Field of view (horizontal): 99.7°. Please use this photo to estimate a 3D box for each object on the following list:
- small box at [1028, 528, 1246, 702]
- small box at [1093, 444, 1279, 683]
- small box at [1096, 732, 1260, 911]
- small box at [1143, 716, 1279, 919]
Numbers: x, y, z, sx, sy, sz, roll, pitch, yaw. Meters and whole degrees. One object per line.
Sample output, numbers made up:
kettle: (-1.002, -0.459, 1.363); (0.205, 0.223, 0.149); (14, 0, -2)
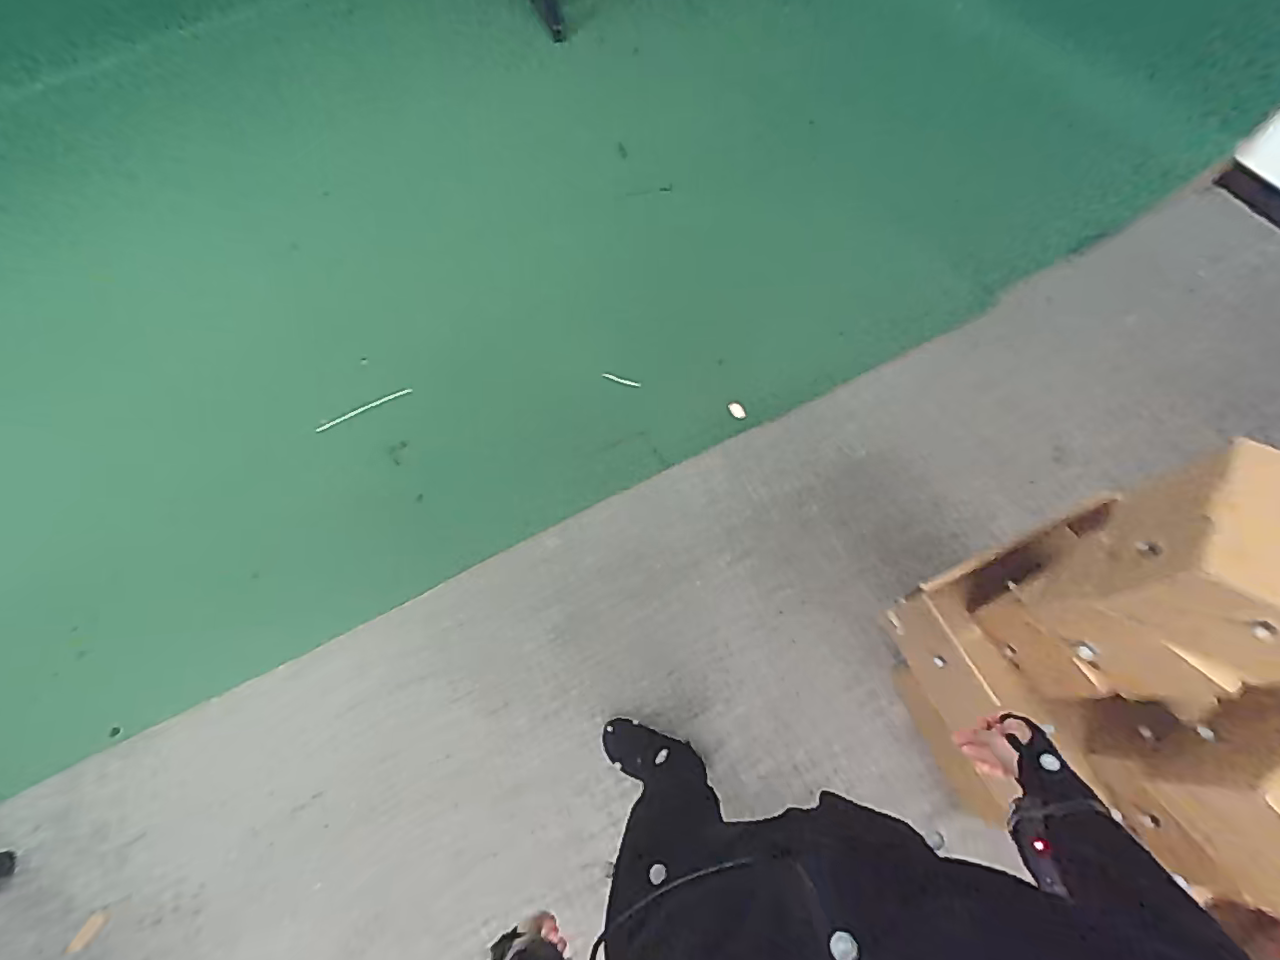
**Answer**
small box: (0.670, 0.169, 0.716); (0.179, 0.176, 0.168); (-41, 68, -12)
small box: (0.641, 0.097, 0.572); (0.179, 0.176, 0.168); (30, 73, 17)
small box: (0.799, 0.461, 0.757); (0.179, 0.176, 0.168); (-15, 65, -1)
small box: (0.756, 0.386, 0.613); (0.168, 0.176, 0.179); (-31, 66, -10)
